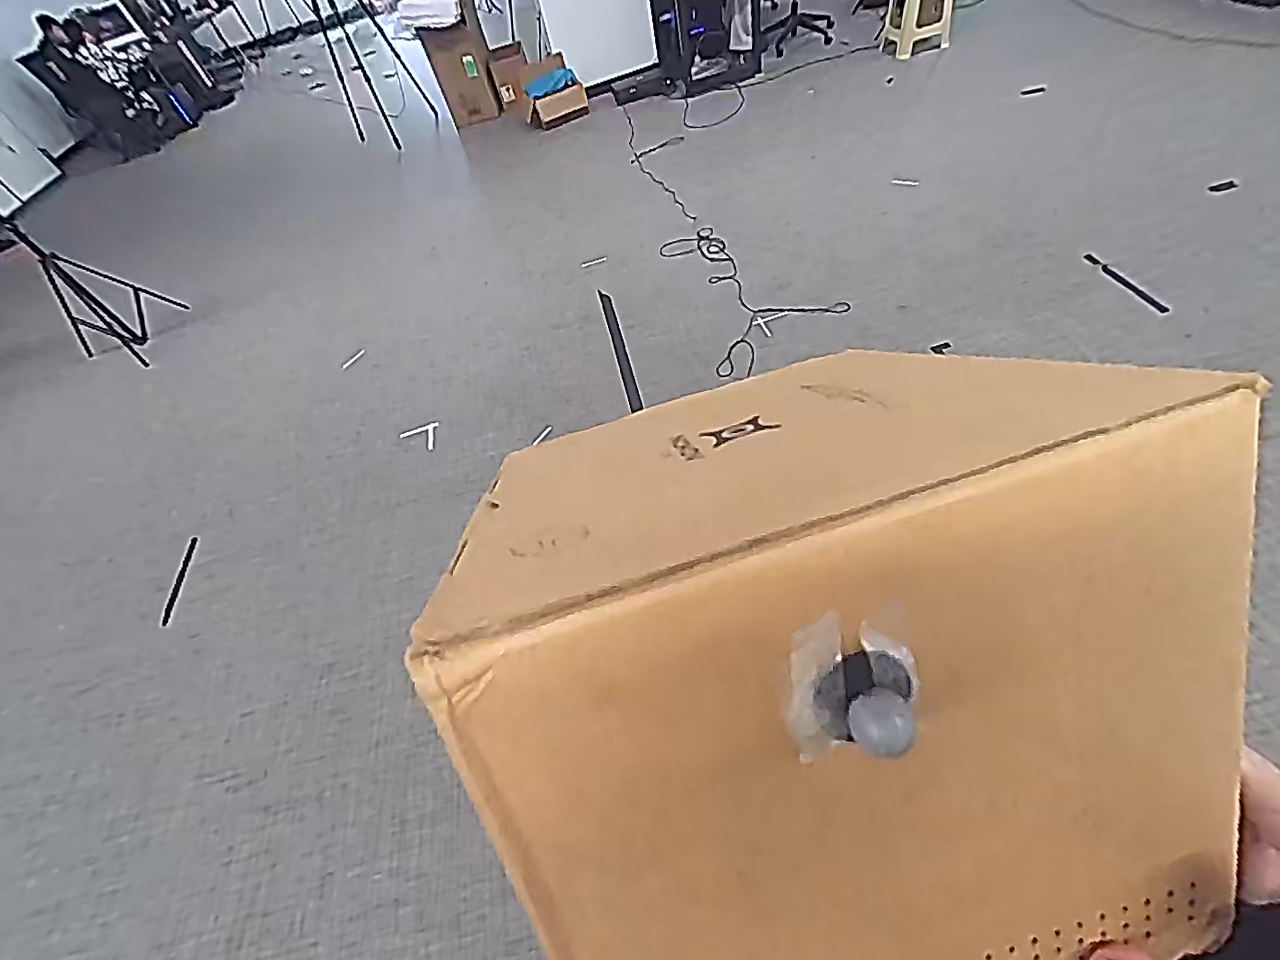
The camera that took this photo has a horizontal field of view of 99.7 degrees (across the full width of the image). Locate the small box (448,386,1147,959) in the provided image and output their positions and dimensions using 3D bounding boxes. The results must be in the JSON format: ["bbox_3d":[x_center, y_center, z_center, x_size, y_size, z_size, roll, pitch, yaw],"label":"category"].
[{"bbox_3d":[0.053,0.073,0.219,0.179,0.176,0.168,-17,16,-2],"label":"small box"}]
